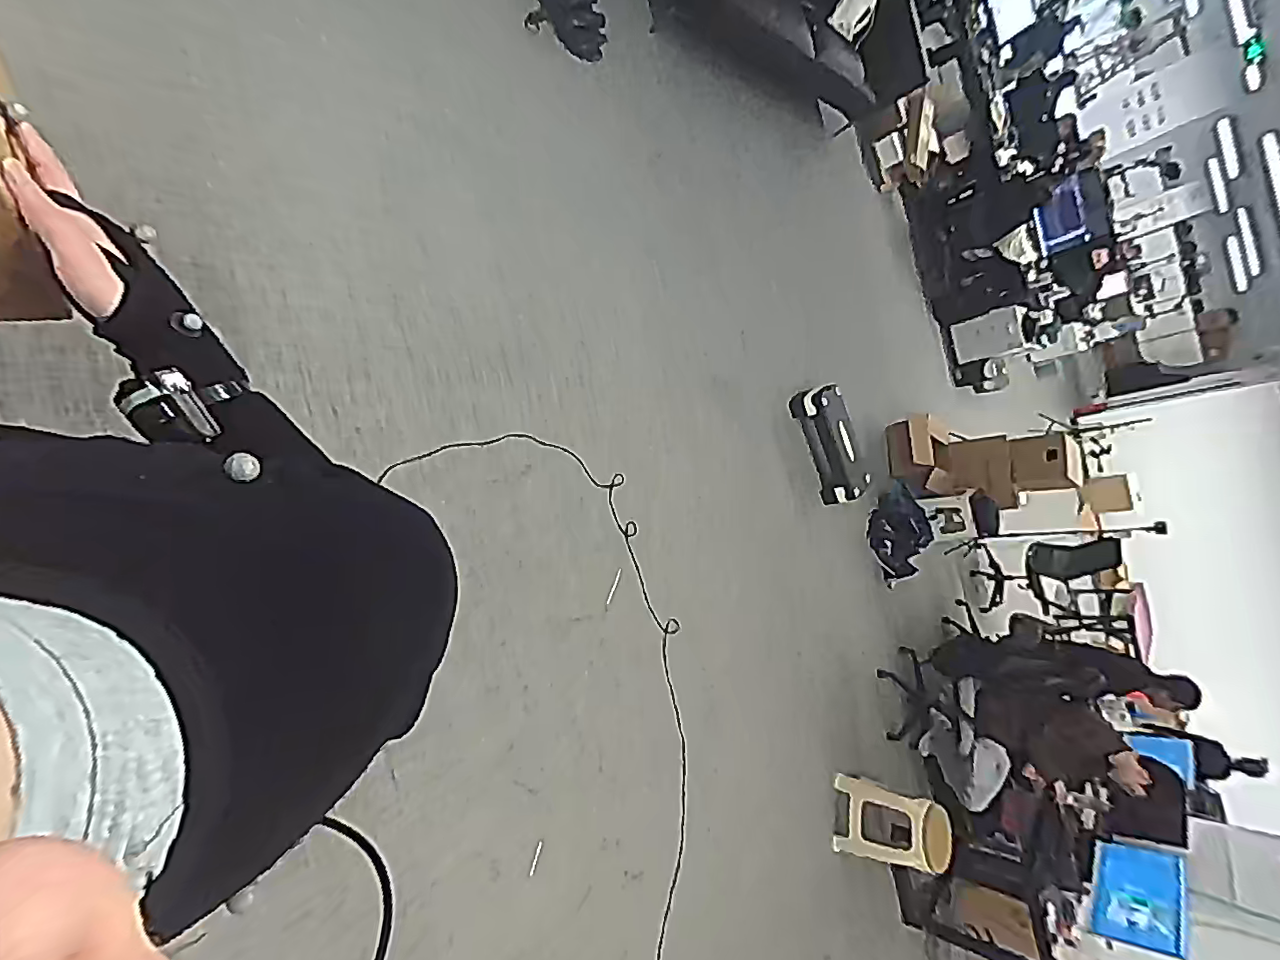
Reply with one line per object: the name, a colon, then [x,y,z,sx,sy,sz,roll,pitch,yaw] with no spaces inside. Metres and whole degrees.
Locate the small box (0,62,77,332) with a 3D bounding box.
small box: [-0.507,-0.209,0.345,0.168,0.176,0.179,-15,79,-39]
